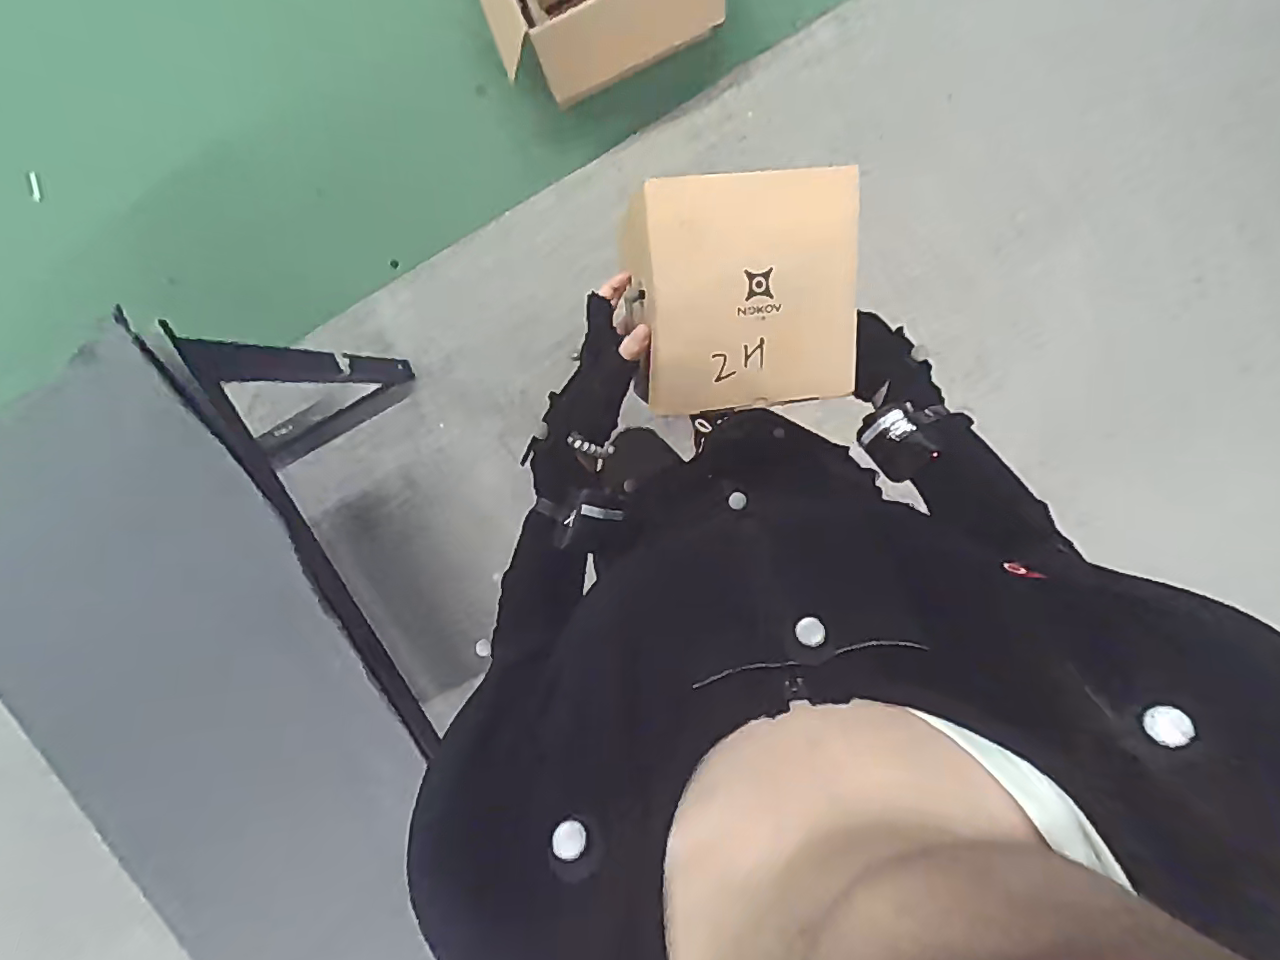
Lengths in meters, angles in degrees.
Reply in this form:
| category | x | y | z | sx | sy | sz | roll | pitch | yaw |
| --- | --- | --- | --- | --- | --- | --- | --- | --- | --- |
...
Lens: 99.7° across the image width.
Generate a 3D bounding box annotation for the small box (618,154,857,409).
| category | x | y | z | sx | sy | sz | roll | pitch | yaw |
| --- | --- | --- | --- | --- | --- | --- | --- | --- | --- |
| small box | 0.076 | -0.169 | 0.490 | 0.168 | 0.176 | 0.179 | -8 | 107 | -6 |
